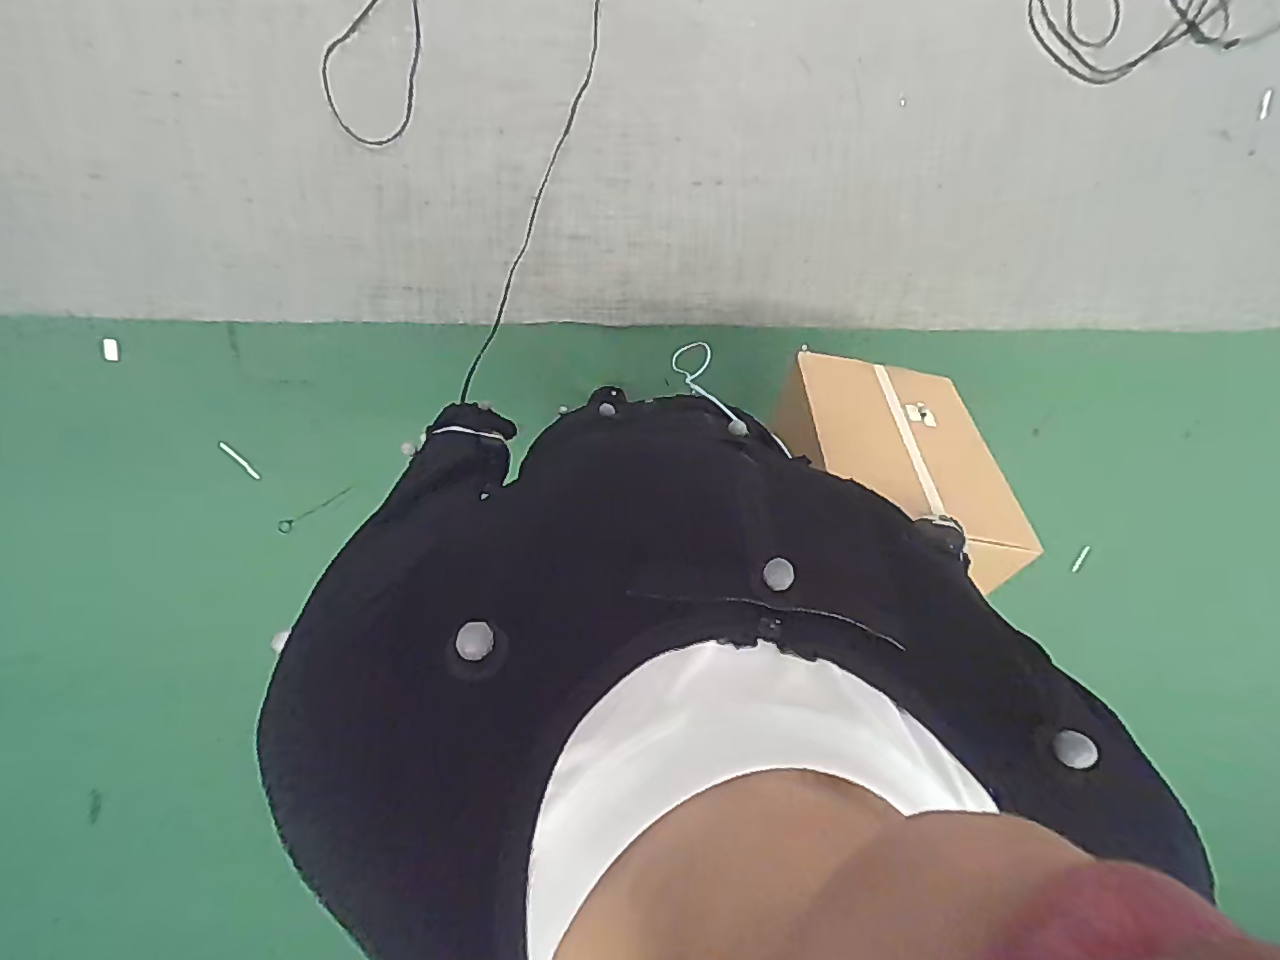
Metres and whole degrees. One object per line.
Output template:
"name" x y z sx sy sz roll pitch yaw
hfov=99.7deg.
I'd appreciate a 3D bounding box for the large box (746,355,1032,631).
"large box" 0.407 0.026 1.015 0.320 0.408 0.320 8 137 -6
